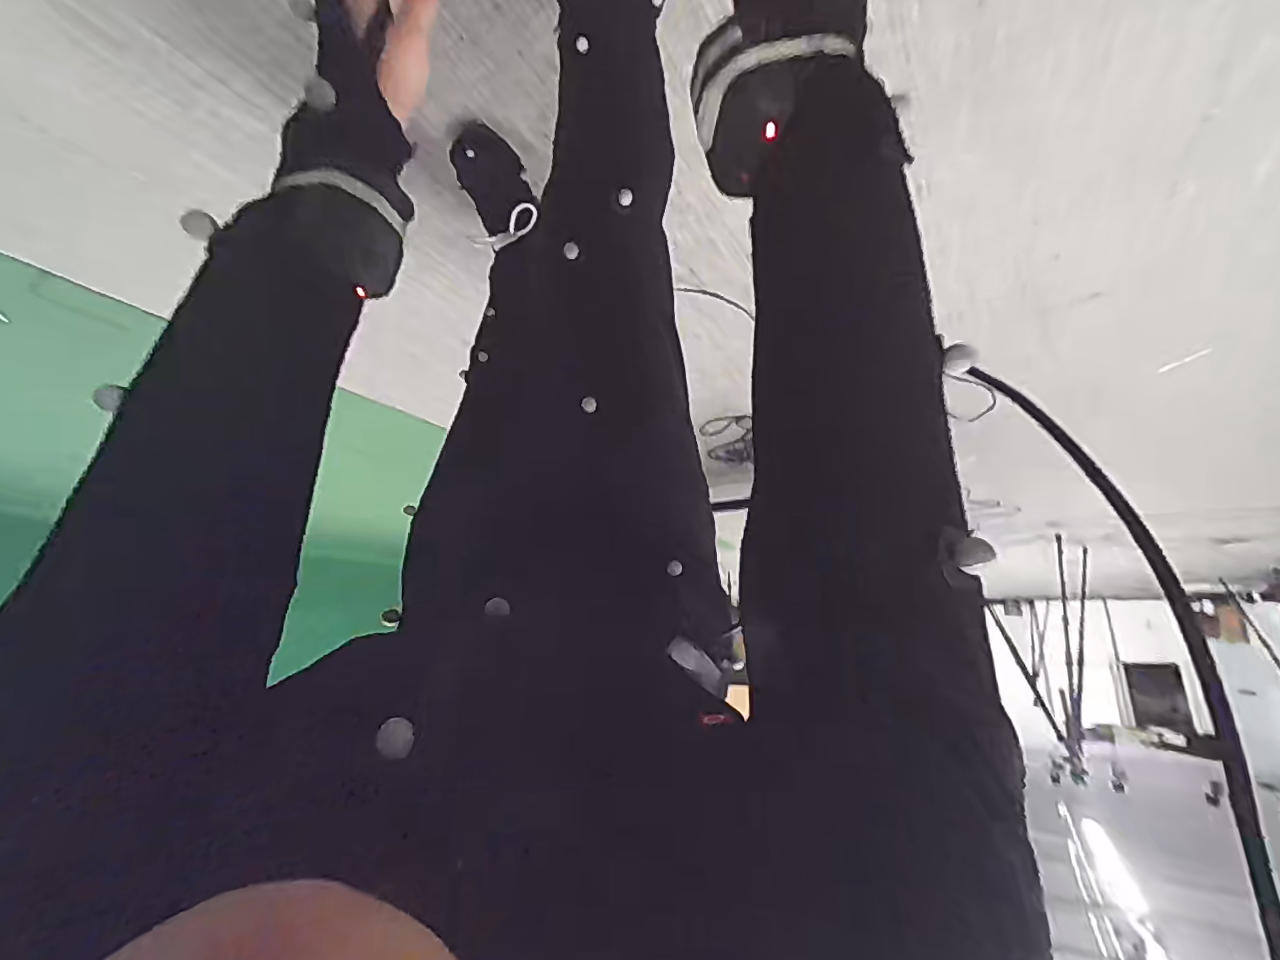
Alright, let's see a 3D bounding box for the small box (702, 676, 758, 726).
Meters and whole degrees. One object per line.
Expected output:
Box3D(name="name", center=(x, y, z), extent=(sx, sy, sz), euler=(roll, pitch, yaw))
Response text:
Box3D(name="small box", center=(0.359, 0.873, 2.149), extent=(0.179, 0.176, 0.168), euler=(-10, 161, 31))
